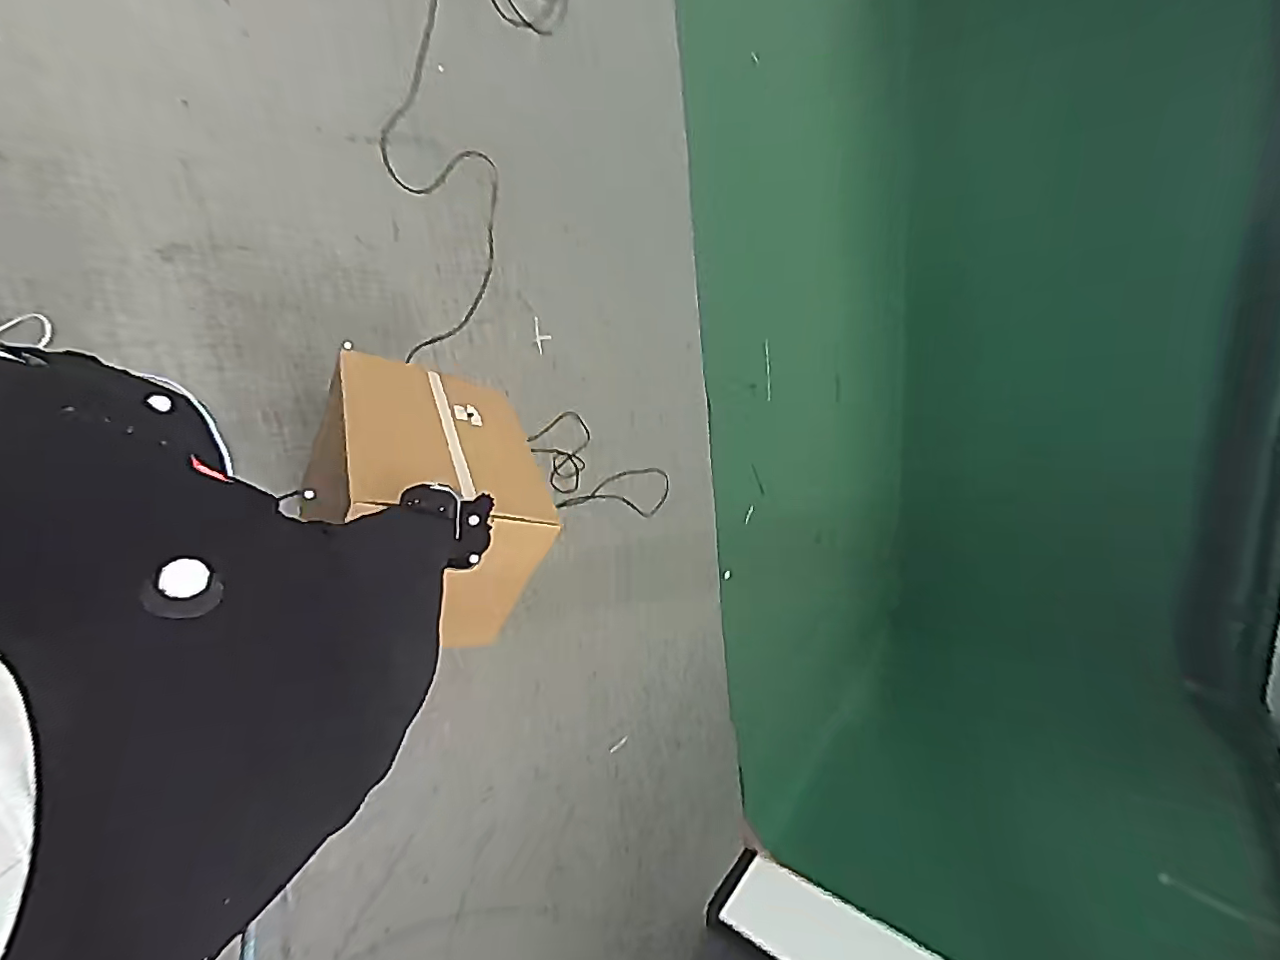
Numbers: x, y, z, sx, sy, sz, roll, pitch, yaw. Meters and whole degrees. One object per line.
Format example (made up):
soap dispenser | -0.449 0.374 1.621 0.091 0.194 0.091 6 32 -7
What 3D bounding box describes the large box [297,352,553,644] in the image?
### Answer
large box | -0.410 0.037 0.977 0.320 0.408 0.320 14 121 -39
